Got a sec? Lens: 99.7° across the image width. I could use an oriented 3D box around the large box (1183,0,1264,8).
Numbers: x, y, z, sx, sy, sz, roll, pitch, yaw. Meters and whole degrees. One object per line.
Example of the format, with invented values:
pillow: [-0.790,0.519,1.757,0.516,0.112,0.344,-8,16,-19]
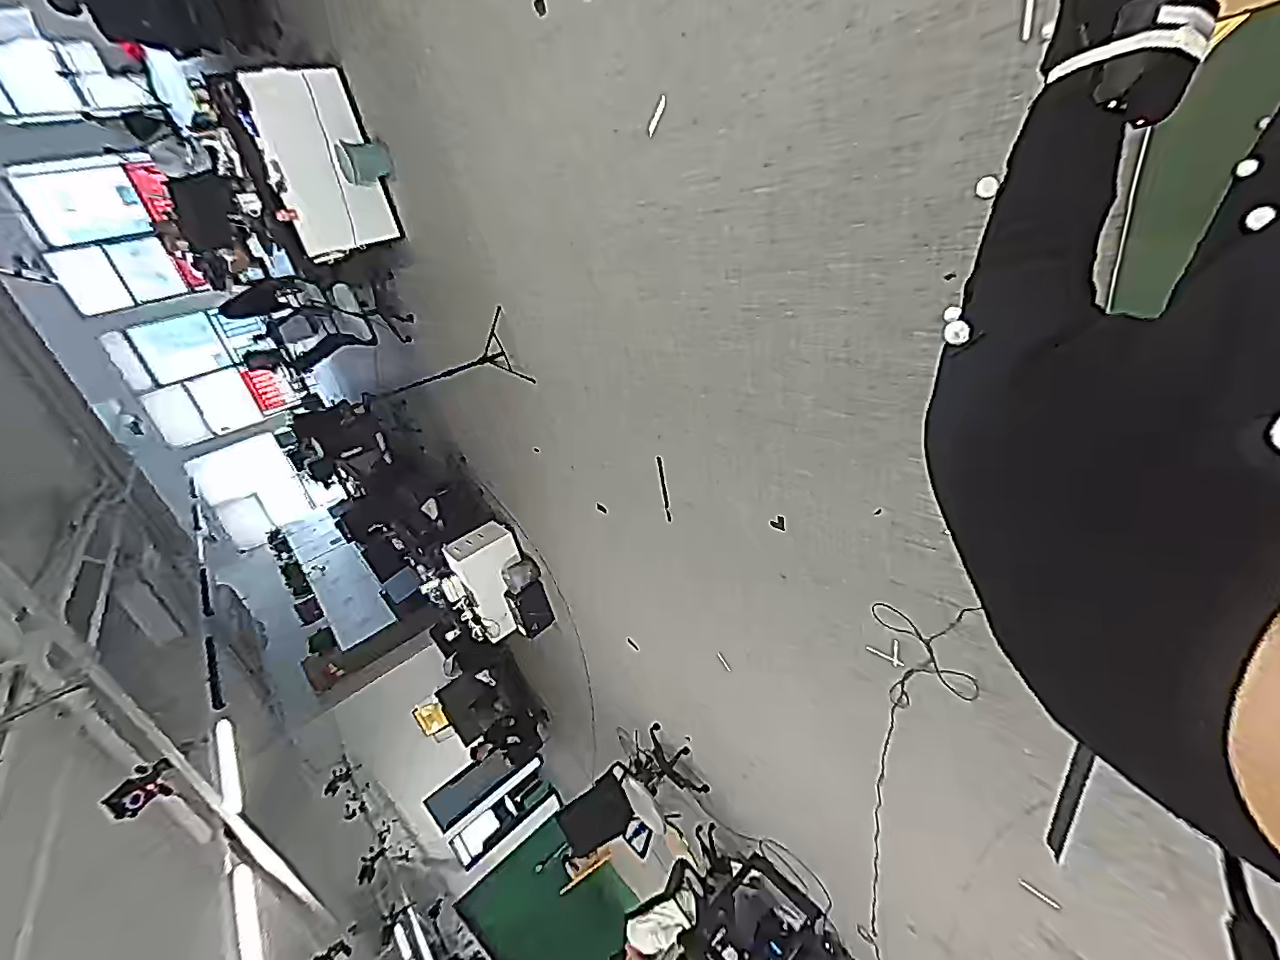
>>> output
large box: [0.594,-0.518,0.270,0.408,0.320,0.320,15,130,48]
